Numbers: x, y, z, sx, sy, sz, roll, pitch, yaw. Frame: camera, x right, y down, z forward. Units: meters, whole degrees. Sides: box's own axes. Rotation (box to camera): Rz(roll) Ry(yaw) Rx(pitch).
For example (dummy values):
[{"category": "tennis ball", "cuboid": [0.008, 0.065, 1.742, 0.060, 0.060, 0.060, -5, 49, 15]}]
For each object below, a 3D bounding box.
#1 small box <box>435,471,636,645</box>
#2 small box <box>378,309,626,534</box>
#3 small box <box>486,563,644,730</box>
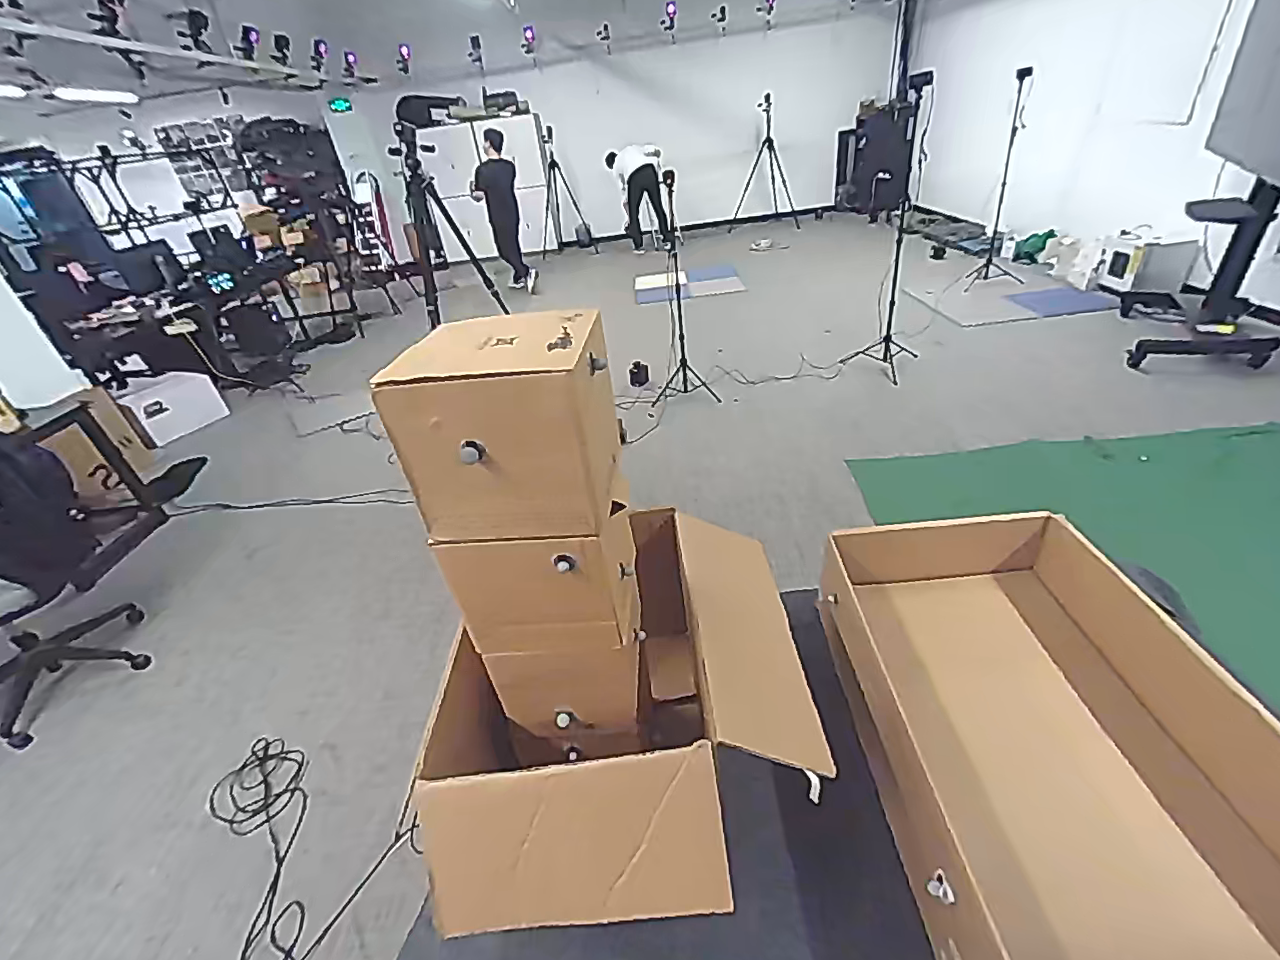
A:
[{"category": "small box", "cuboid": [-0.106, 0.078, 0.636, 0.179, 0.176, 0.168, -3, 34, 6]}, {"category": "small box", "cuboid": [-0.117, -0.058, 0.544, 0.179, 0.176, 0.168, -3, 34, 7]}, {"category": "small box", "cuboid": [-0.086, 0.209, 0.729, 0.168, 0.176, 0.179, -4, 36, 6]}]
